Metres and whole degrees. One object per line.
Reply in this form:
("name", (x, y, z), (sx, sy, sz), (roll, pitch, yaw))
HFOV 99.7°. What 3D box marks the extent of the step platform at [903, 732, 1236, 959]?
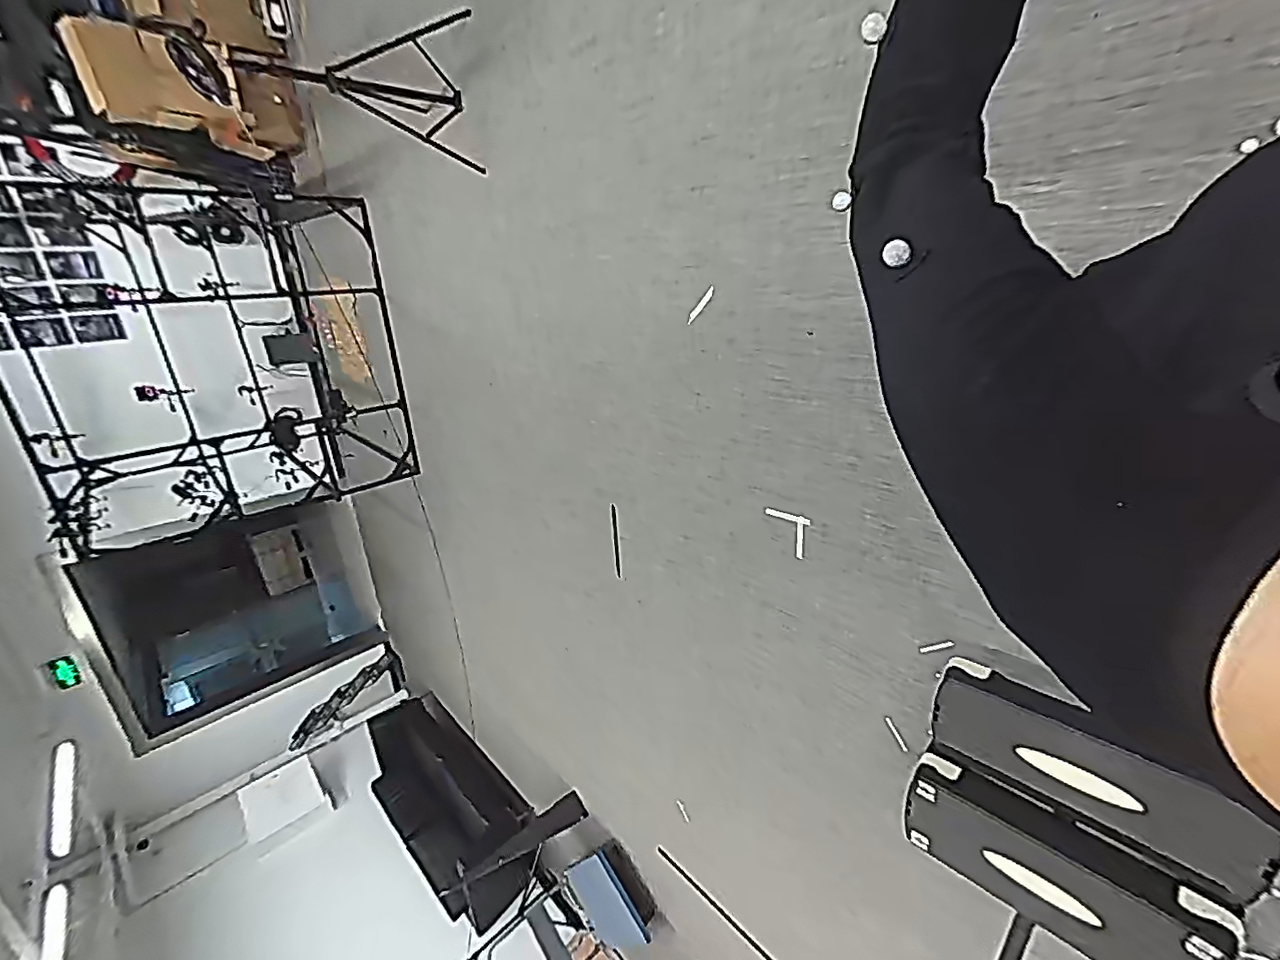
("step platform", (1.079, 0.993, 1.448), (0.684, 0.204, 0.286), (17, 119, 46))
